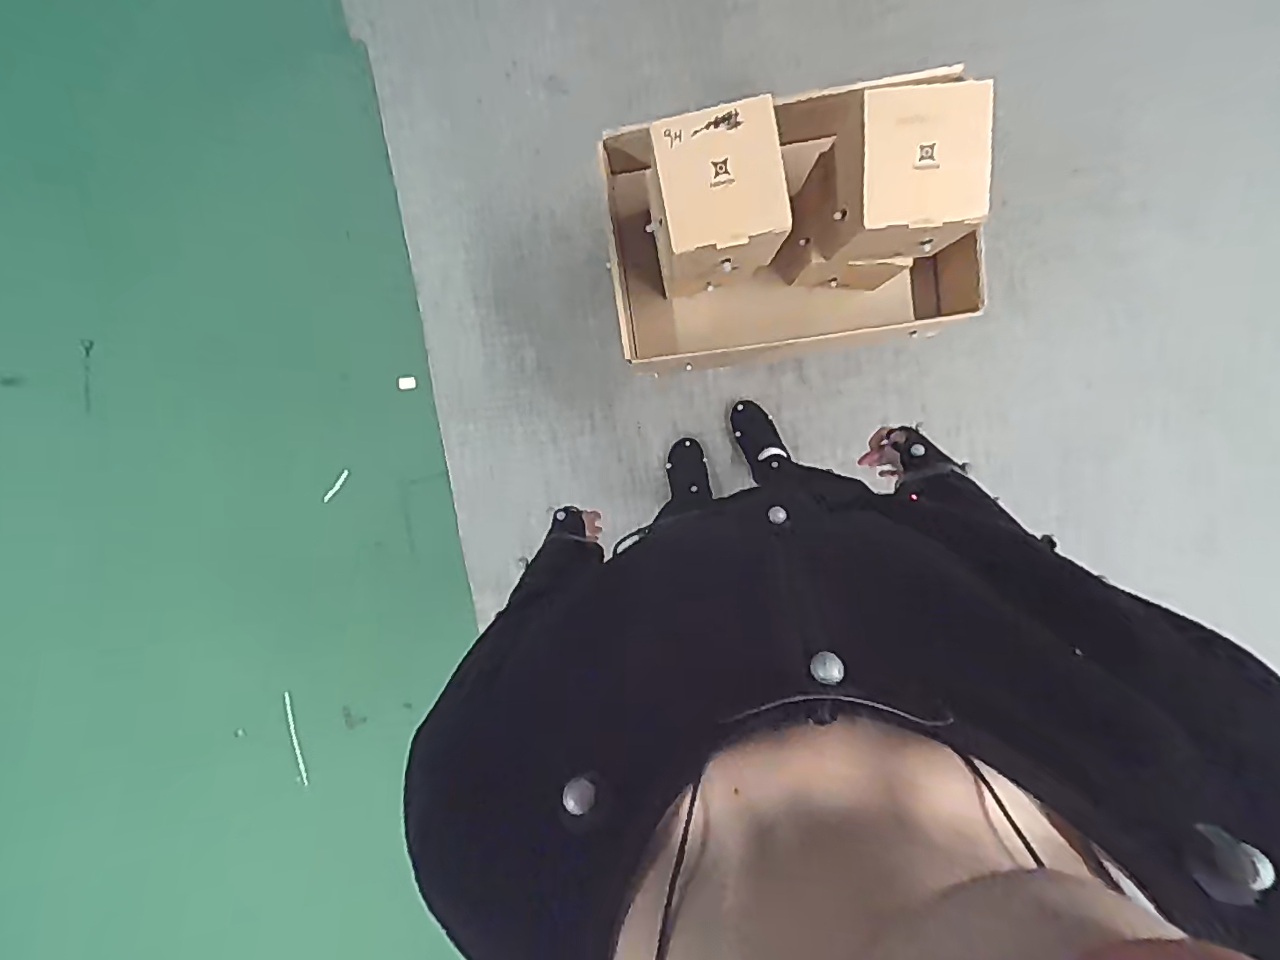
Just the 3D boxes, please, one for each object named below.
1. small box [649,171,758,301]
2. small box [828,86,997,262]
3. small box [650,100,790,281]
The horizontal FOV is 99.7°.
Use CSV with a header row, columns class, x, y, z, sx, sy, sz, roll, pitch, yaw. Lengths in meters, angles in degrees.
class,x,y,z,sx,sy,sz,roll,pitch,yaw
small box,0.111,-0.436,0.958,0.168,0.176,0.179,-10,95,5
small box,0.379,-0.423,0.781,0.168,0.176,0.179,-2,96,3
small box,0.112,-0.406,0.796,0.168,0.176,0.179,-10,96,4
